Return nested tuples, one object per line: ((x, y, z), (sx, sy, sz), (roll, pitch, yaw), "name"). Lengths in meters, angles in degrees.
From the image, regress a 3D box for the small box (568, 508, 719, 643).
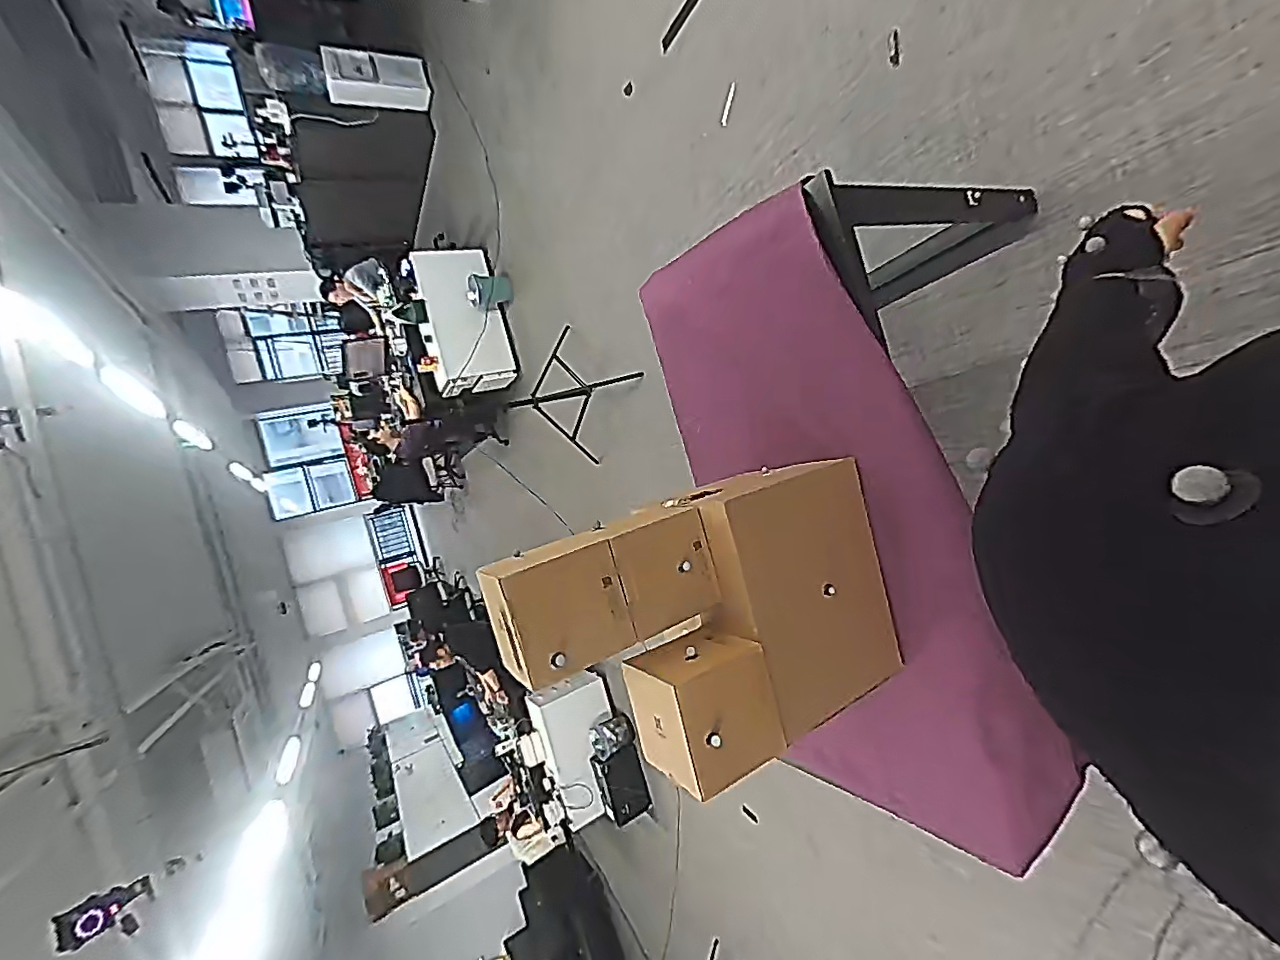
((0.004, 0.149, 0.904), (0.179, 0.176, 0.168), (-11, 96, 62), "small box")

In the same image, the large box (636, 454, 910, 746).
((0.241, 0.196, 1.026), (0.320, 0.320, 0.408), (-11, 96, 63), "large box")
